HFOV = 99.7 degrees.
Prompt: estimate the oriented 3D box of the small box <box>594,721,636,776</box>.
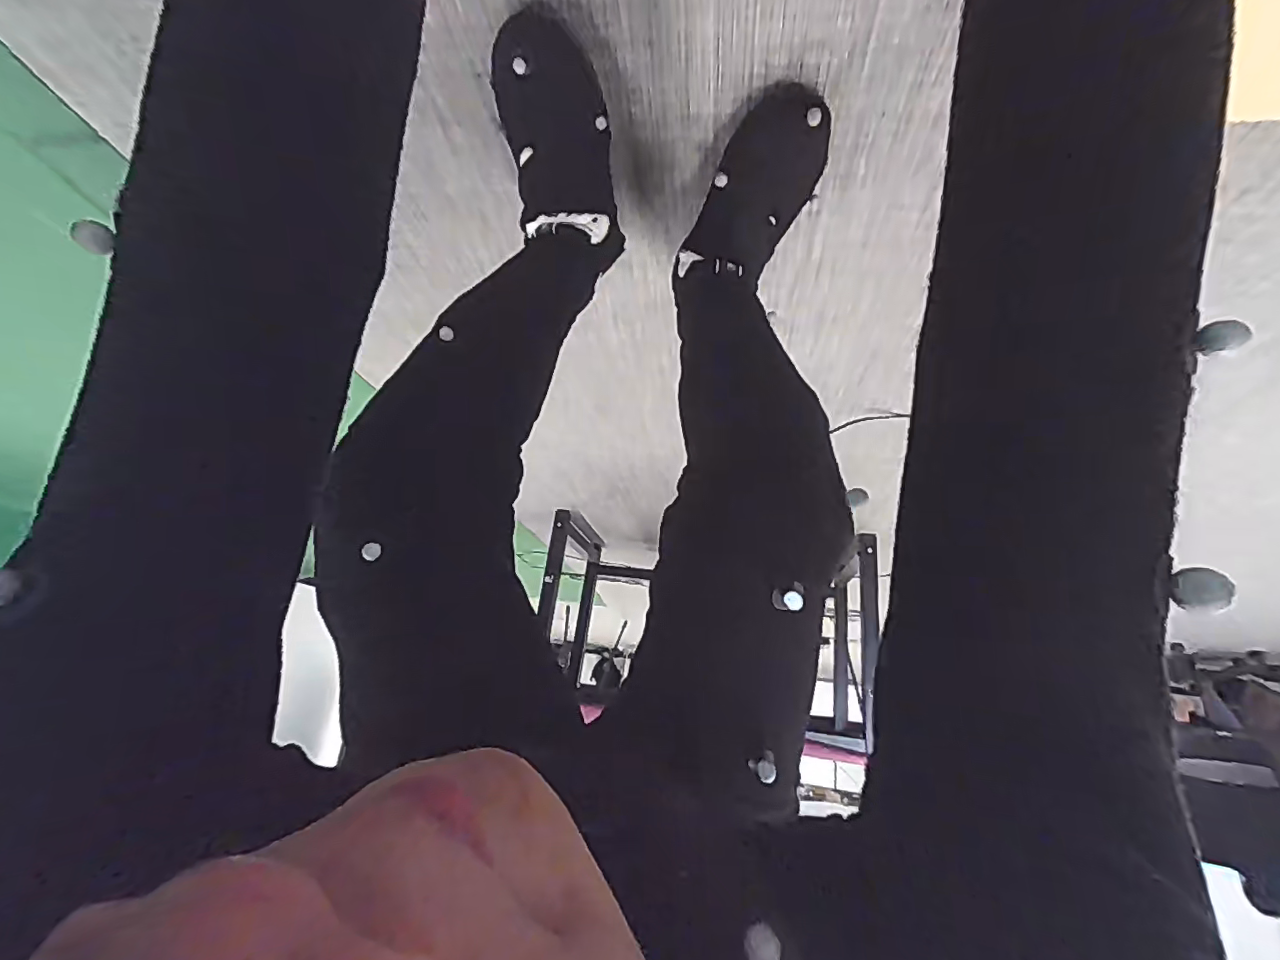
[{"bbox_3d":[-0.106,1.037,2.101,0.168,0.176,0.179,6,159,4],"label":"small box"}]
